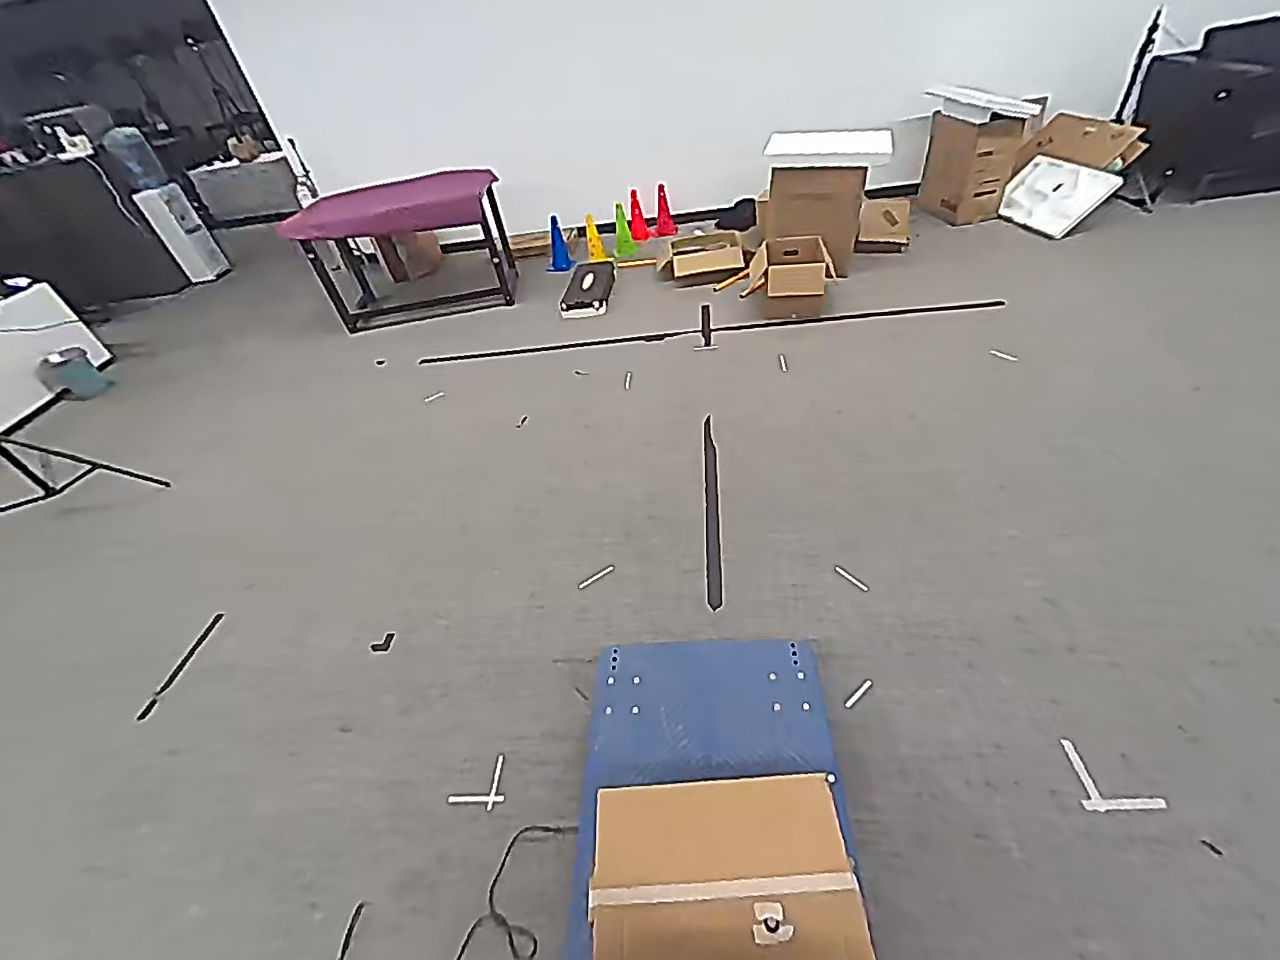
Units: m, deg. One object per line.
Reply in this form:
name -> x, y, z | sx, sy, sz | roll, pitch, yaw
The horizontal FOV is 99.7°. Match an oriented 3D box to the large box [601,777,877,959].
large box -> 0.151, 0.753, 0.936 | 0.408, 0.320, 0.320 | -6, 42, 3
